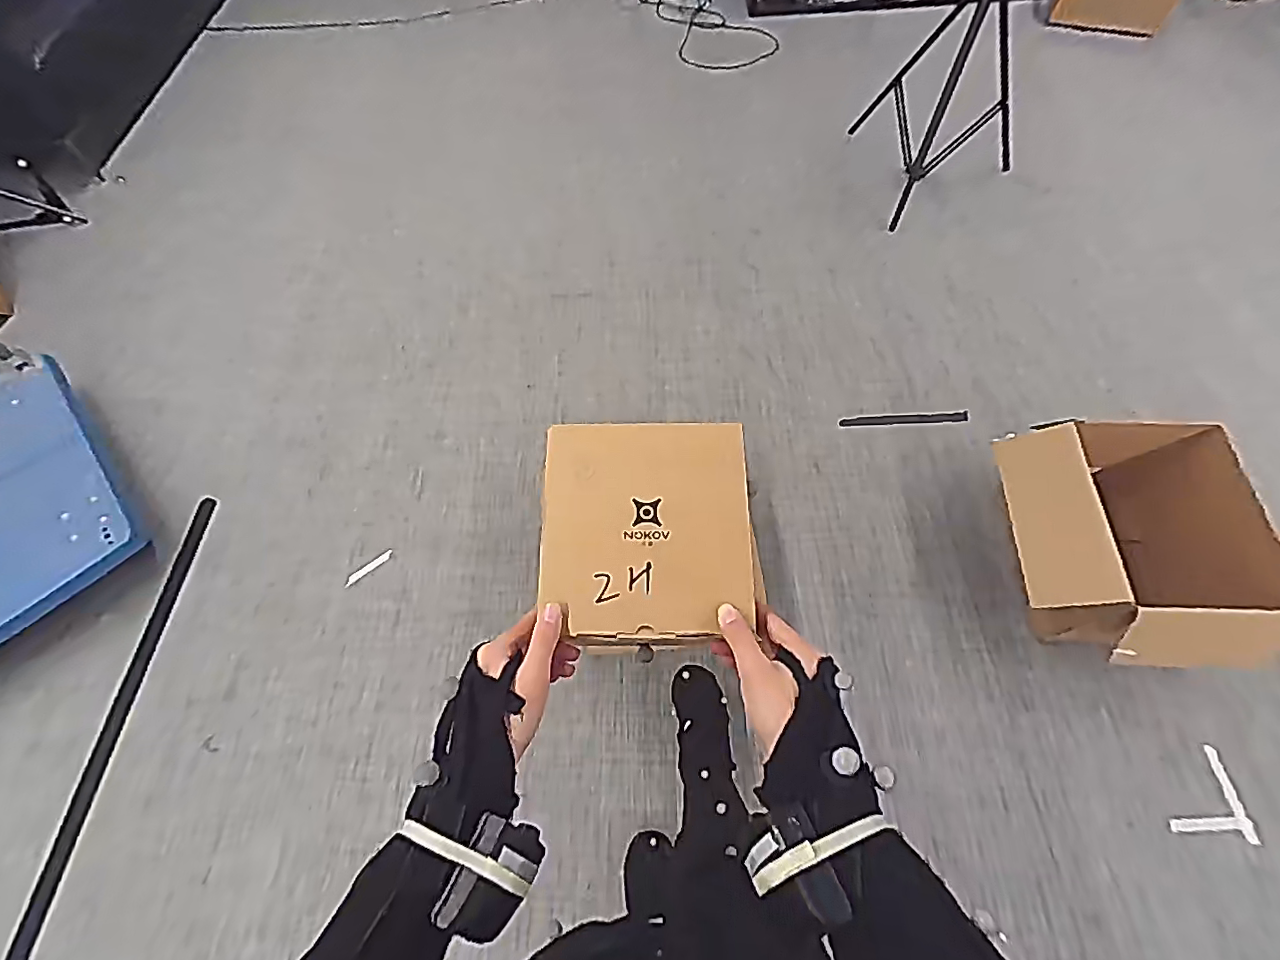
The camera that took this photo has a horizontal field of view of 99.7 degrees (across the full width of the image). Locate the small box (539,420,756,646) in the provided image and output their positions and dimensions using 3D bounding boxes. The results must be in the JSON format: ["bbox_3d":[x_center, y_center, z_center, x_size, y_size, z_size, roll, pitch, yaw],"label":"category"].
[{"bbox_3d":[0.007,0.058,0.505,0.168,0.176,0.179,-1,70,1],"label":"small box"}]
